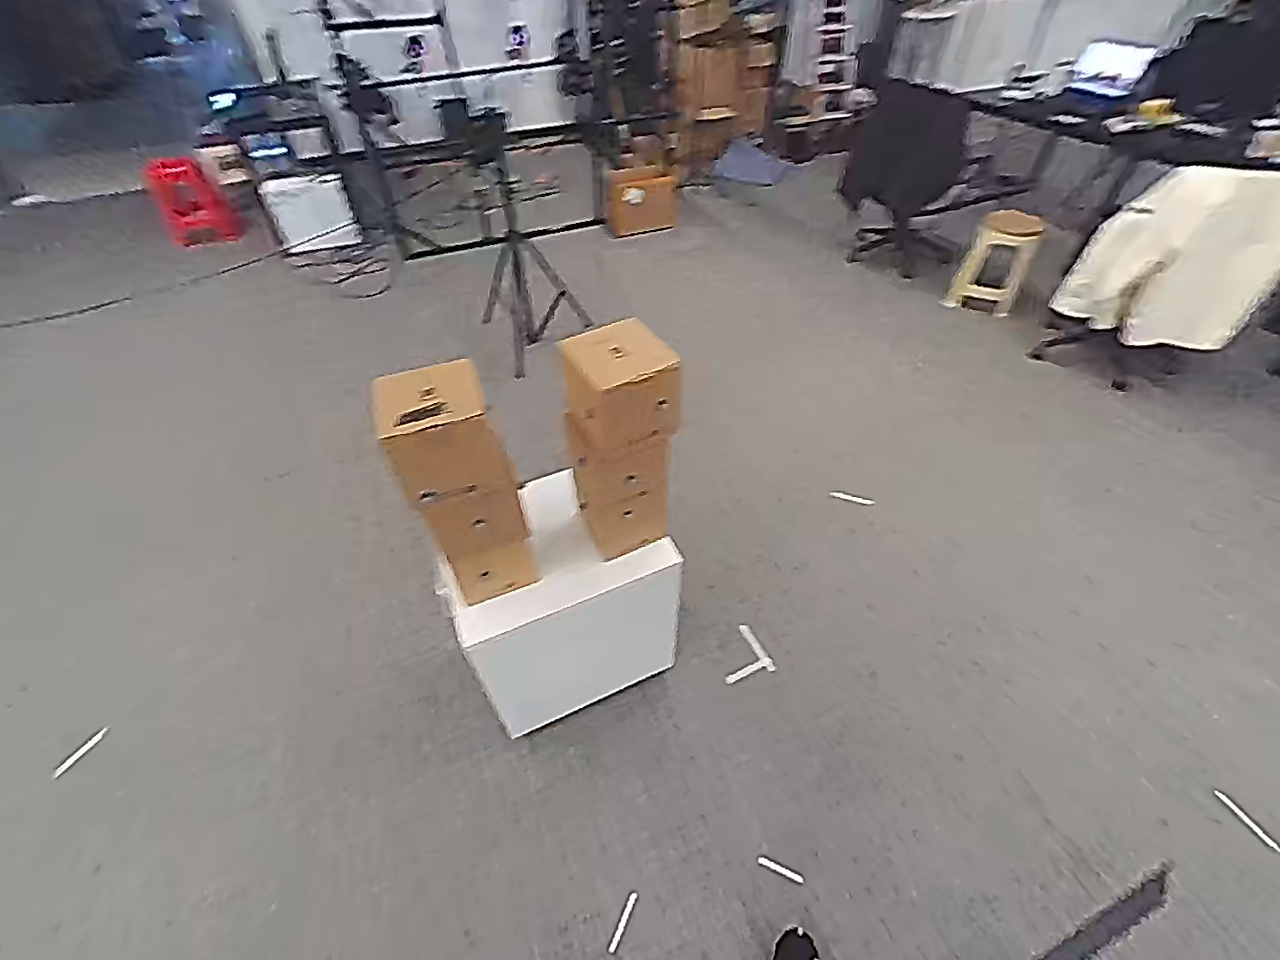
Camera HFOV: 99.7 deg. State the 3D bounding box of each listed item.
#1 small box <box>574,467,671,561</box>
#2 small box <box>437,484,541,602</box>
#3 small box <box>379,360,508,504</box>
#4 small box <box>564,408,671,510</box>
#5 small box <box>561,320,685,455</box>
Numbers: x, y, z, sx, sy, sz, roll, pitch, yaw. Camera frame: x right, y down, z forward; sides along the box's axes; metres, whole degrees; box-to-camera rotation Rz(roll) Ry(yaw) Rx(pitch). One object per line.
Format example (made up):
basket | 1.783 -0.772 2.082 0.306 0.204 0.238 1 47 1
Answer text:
small box | -0.041 0.054 1.258 0.168 0.176 0.179 -22 49 -16
small box | -0.326 0.144 1.183 0.168 0.176 0.179 -18 48 -16
small box | -0.337 -0.077 0.939 0.168 0.176 0.179 -16 47 -13
small box | -0.044 -0.059 1.138 0.168 0.176 0.179 -20 49 -16
small box | -0.030 -0.167 1.016 0.168 0.176 0.179 -24 50 -20
